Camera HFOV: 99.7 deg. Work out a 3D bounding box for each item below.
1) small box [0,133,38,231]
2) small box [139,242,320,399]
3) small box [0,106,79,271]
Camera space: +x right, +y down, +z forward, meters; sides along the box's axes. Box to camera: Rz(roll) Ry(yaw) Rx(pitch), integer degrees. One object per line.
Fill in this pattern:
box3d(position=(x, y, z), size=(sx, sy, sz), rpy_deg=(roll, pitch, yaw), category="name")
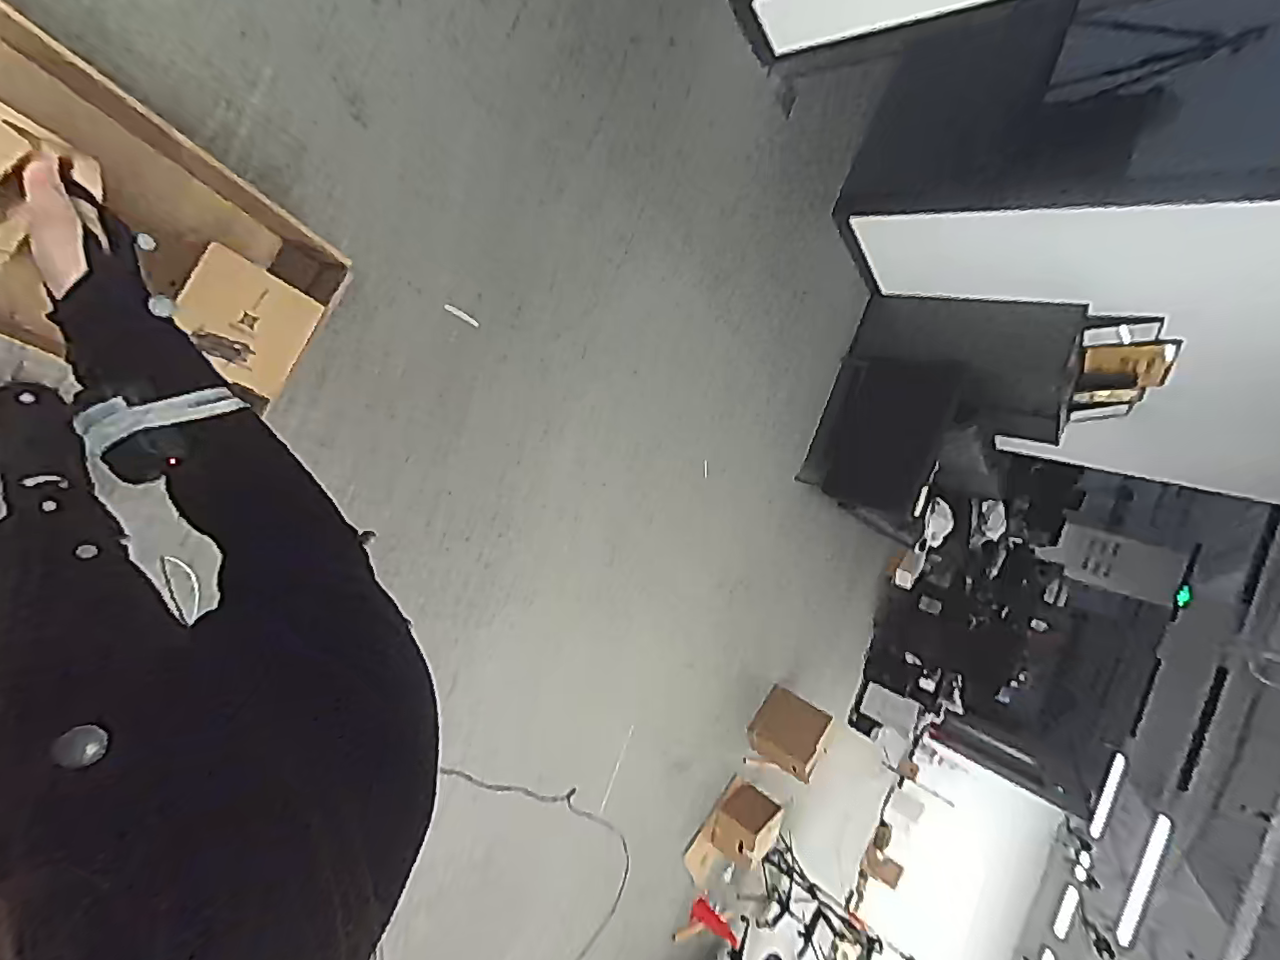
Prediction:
box3d(position=(-0.513, -0.200, 0.310), size=(0.168, 0.176, 0.179), rpy_deg=(-57, 135, -16), category="small box")
box3d(position=(-0.662, -0.255, 0.870), size=(0.168, 0.176, 0.179), rpy_deg=(33, 80, -51), category="small box")
box3d(position=(-0.822, -0.371, 0.634), size=(0.168, 0.176, 0.179), rpy_deg=(35, 80, -52), category="small box")
